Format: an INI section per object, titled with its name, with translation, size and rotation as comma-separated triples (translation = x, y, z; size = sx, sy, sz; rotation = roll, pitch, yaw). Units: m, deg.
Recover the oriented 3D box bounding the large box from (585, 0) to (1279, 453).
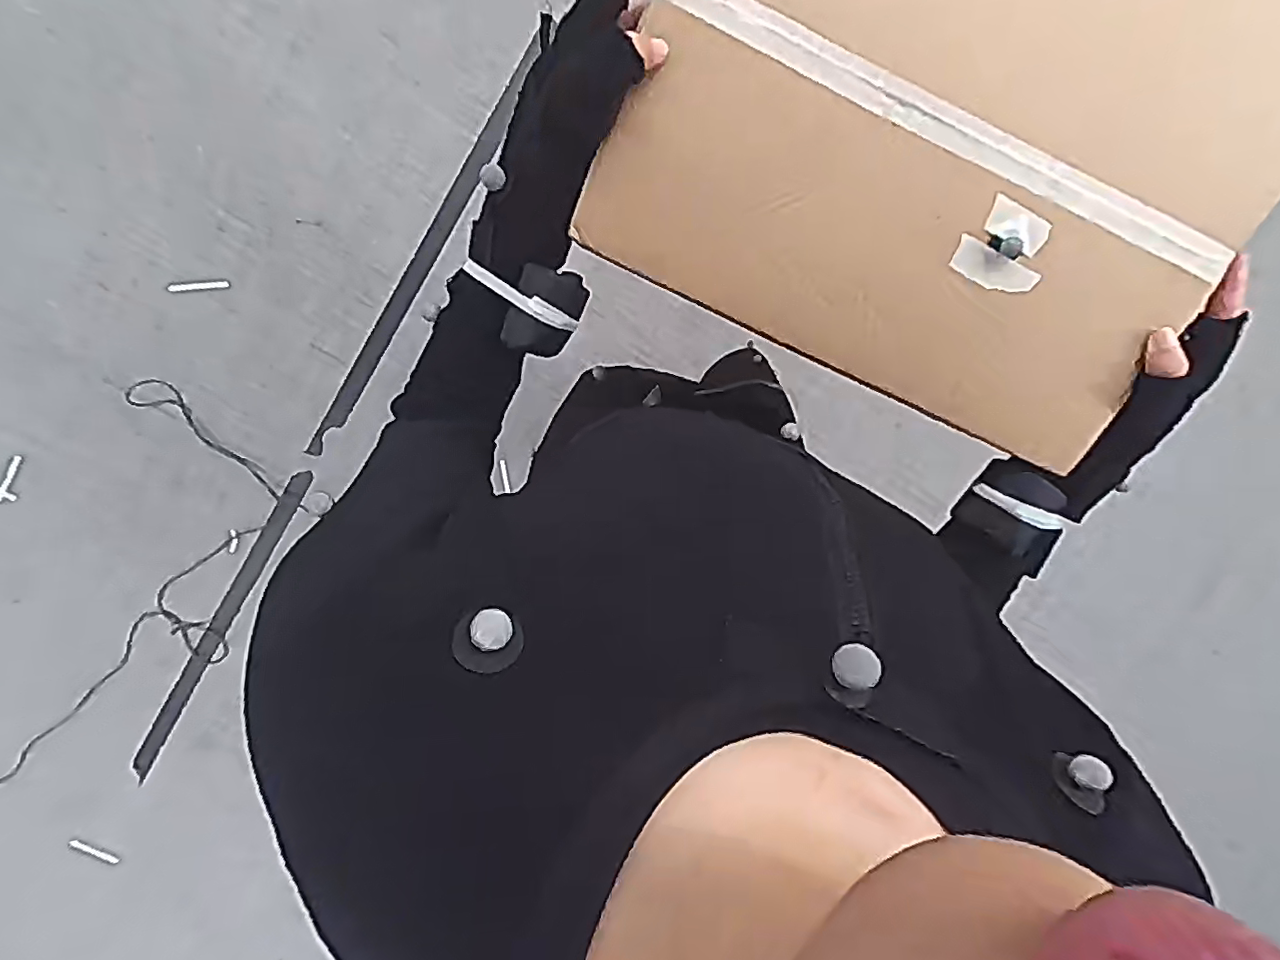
[large box]
translation = 0.205, -0.276, 0.494
size = 0.408, 0.320, 0.320
rotation = 25, 110, -5
